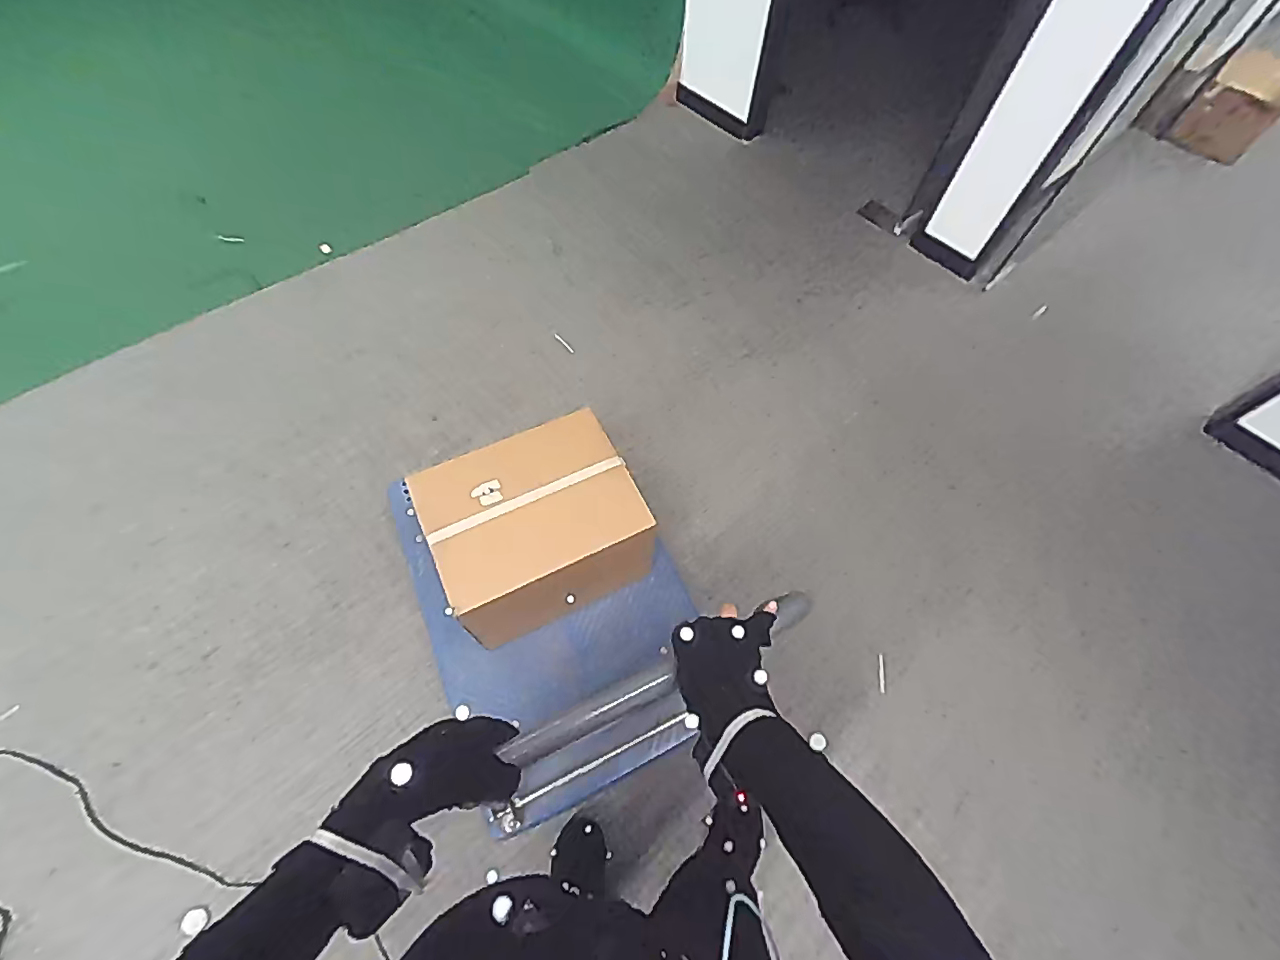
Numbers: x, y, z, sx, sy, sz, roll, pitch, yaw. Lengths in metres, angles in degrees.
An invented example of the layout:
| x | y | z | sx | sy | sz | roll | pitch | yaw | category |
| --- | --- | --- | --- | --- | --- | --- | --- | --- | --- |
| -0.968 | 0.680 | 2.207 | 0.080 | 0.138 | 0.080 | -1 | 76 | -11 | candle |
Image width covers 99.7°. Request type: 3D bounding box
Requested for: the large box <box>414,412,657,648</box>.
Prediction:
| x | y | z | sx | sy | sz | roll | pitch | yaw | category |
| --- | --- | --- | --- | --- | --- | --- | --- | --- | --- |
| -0.212 | 0.117 | 1.196 | 0.408 | 0.320 | 0.320 | -24 | 65 | -14 | large box |
